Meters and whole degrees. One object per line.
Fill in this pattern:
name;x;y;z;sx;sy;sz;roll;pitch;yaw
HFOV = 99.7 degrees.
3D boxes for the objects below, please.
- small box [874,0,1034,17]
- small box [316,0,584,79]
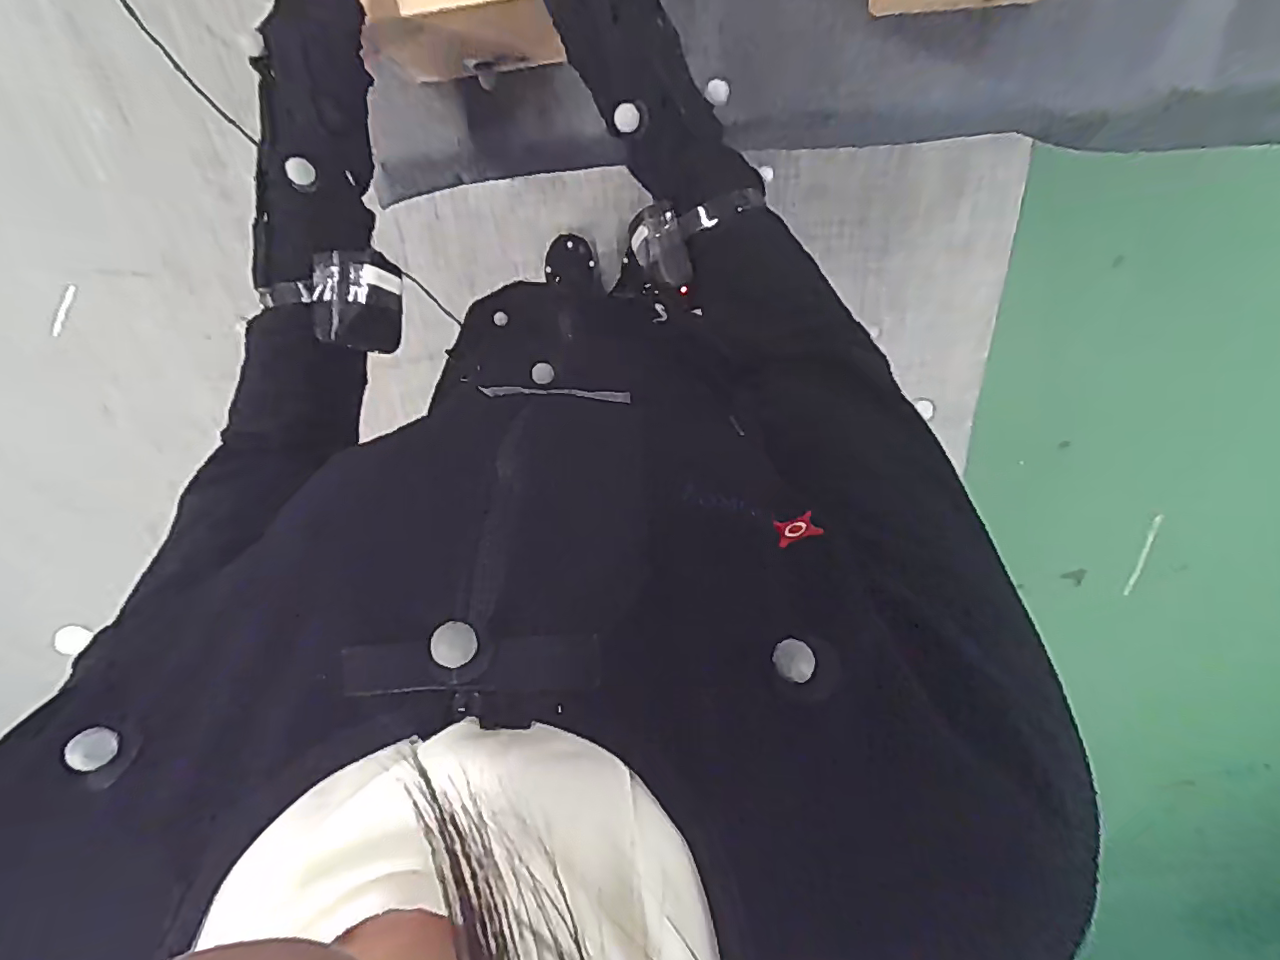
small box;0.289;-0.482;0.396;0.168;0.176;0.179;-6;116;-2
small box;-0.135;-0.413;0.375;0.168;0.176;0.179;-7;115;1
